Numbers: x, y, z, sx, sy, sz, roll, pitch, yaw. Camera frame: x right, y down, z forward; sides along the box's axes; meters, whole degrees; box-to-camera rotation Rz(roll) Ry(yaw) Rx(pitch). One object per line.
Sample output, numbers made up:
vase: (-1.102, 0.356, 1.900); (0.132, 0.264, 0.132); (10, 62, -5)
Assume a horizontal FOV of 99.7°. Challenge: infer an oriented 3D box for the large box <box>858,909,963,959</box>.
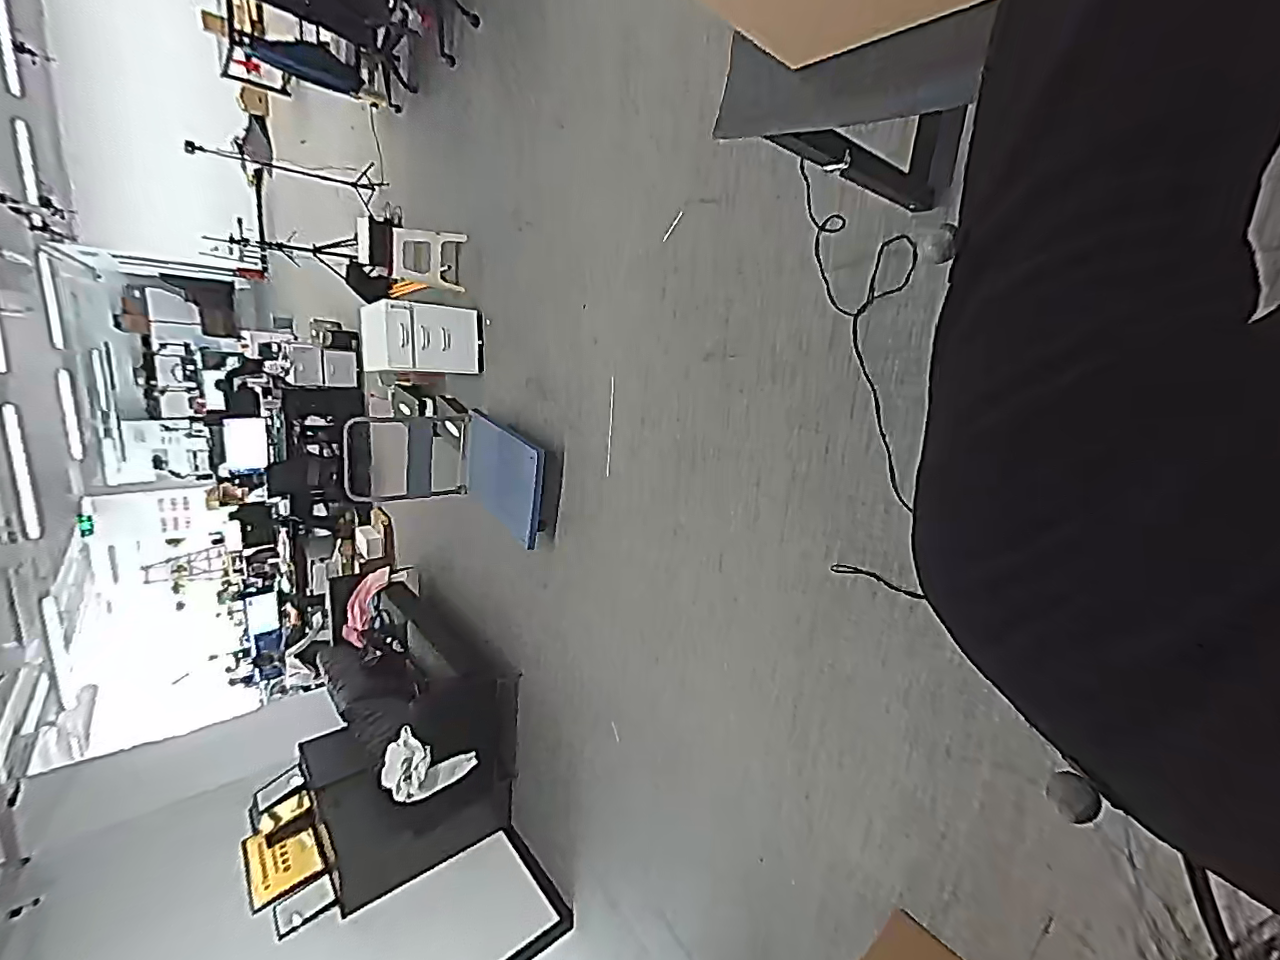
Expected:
large box: (0.799, 1.522, 1.468); (0.408, 0.320, 0.320); (21, 111, 45)
